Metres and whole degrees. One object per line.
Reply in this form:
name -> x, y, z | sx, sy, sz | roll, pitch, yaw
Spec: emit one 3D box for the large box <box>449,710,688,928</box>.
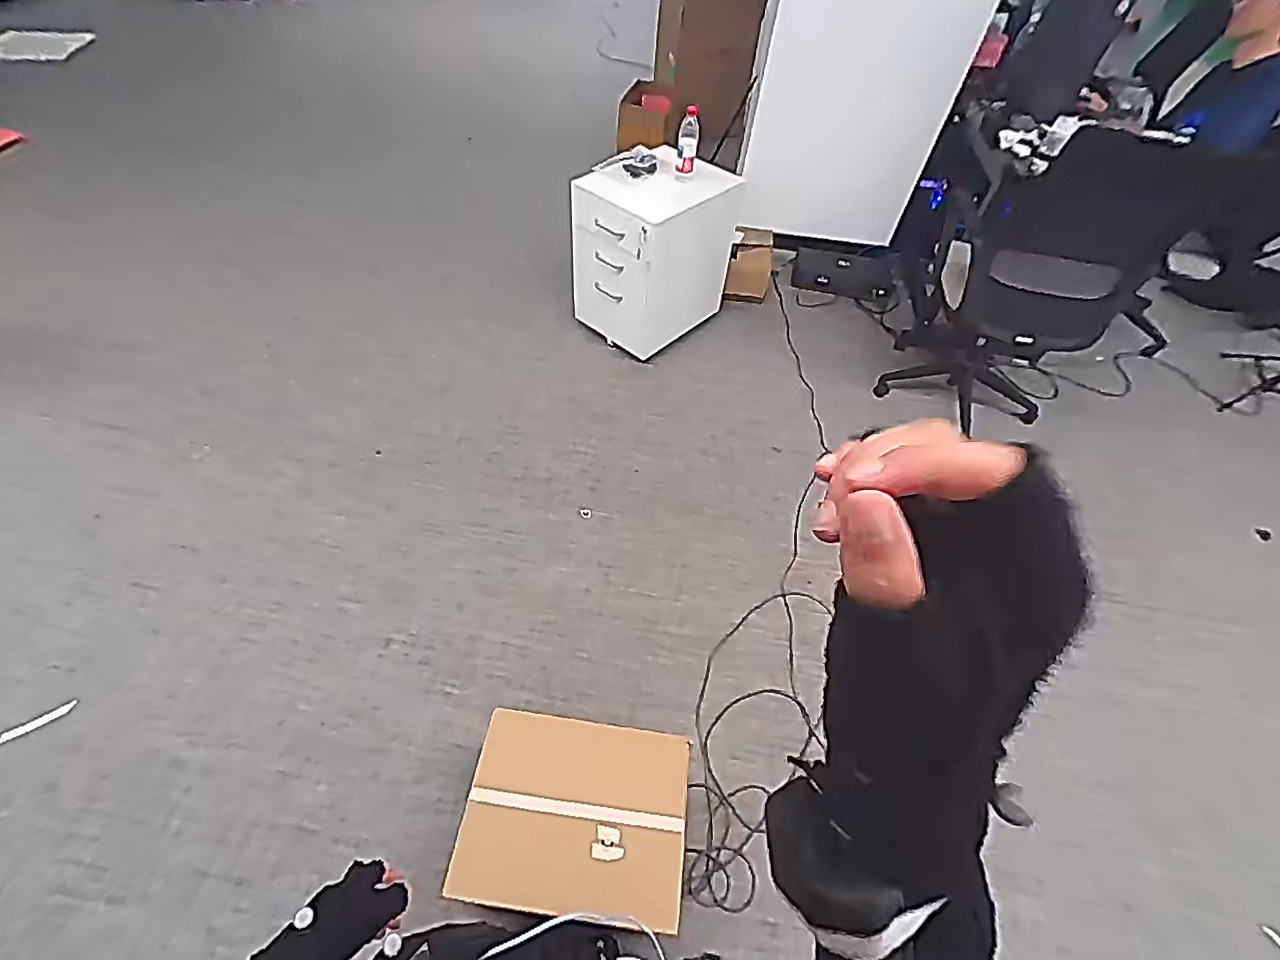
large box -> -0.129, 0.708, 1.126 | 0.408, 0.320, 0.320 | 9, 51, 1
